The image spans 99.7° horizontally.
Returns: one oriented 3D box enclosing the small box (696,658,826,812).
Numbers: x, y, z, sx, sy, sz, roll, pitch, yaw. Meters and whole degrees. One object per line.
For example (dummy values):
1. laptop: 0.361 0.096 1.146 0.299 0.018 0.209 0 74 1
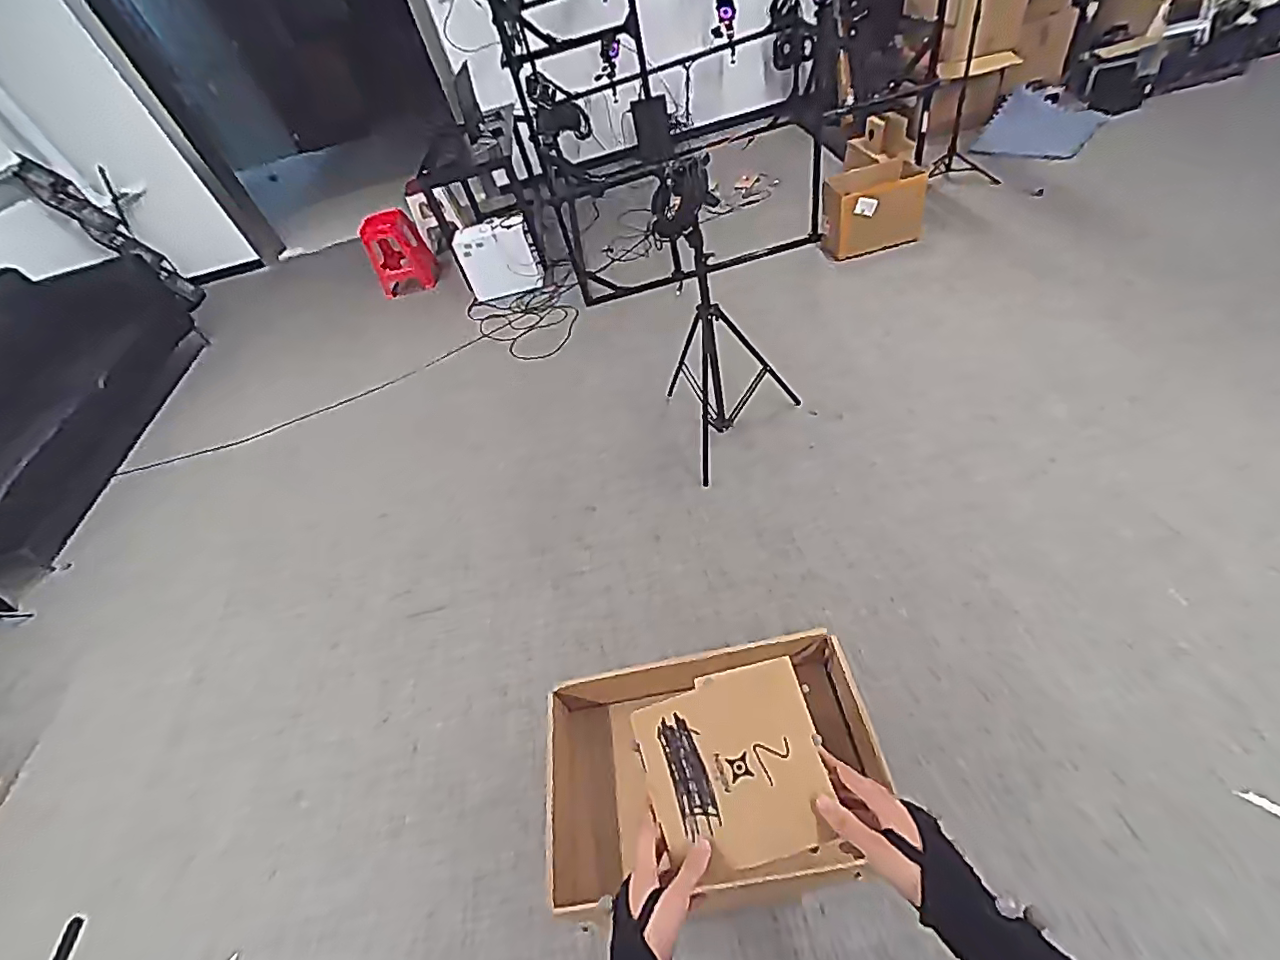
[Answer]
1. small box: 0.199 0.430 0.909 0.168 0.176 0.179 -15 47 4
